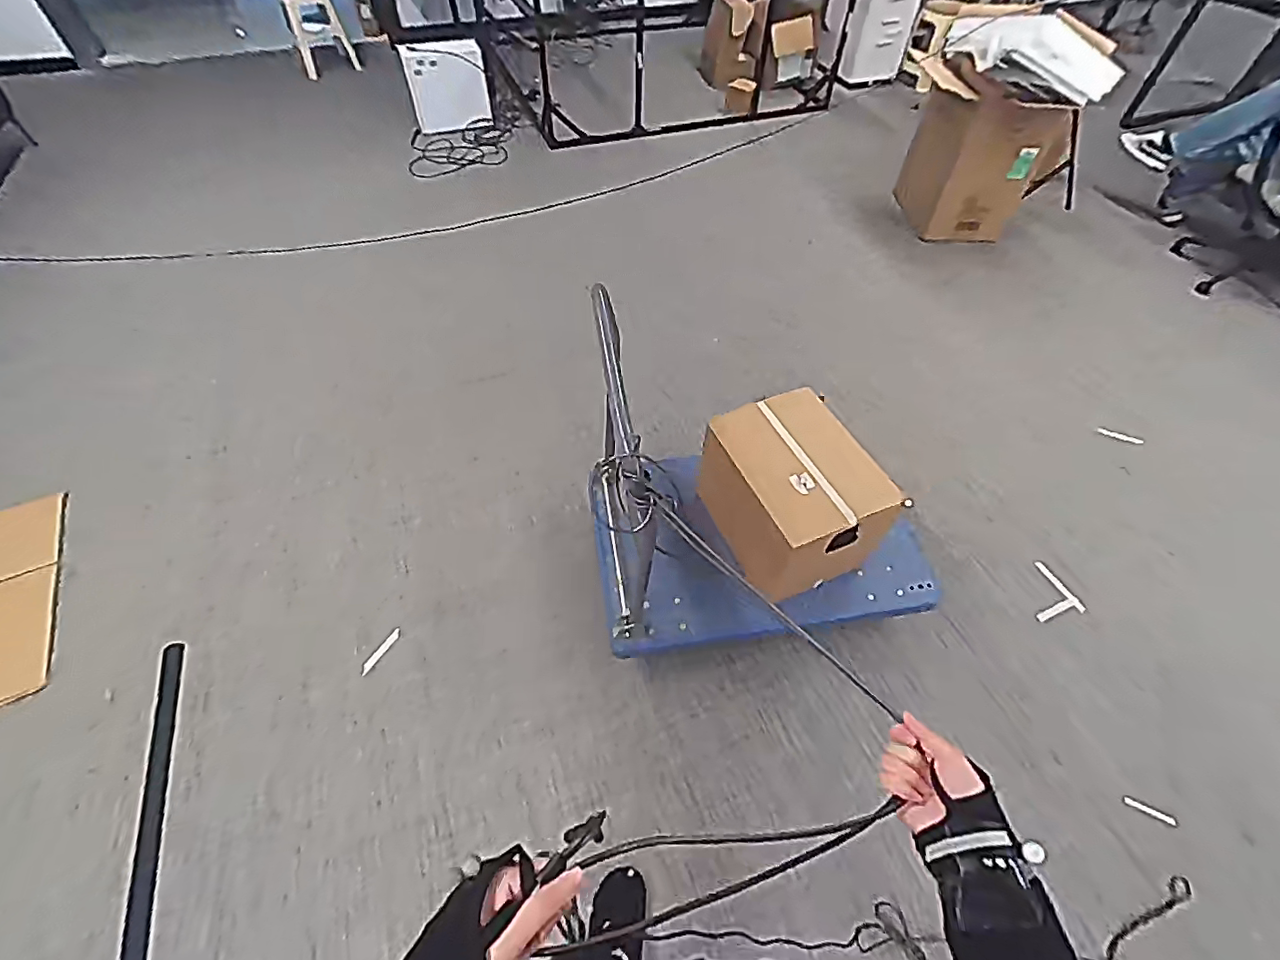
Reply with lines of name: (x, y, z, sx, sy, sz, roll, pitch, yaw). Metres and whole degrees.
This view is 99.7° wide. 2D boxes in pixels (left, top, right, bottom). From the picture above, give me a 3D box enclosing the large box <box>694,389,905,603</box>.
large box: (0.376, 0.038, 1.400, 0.320, 0.320, 0.408, -20, 57, -14)
